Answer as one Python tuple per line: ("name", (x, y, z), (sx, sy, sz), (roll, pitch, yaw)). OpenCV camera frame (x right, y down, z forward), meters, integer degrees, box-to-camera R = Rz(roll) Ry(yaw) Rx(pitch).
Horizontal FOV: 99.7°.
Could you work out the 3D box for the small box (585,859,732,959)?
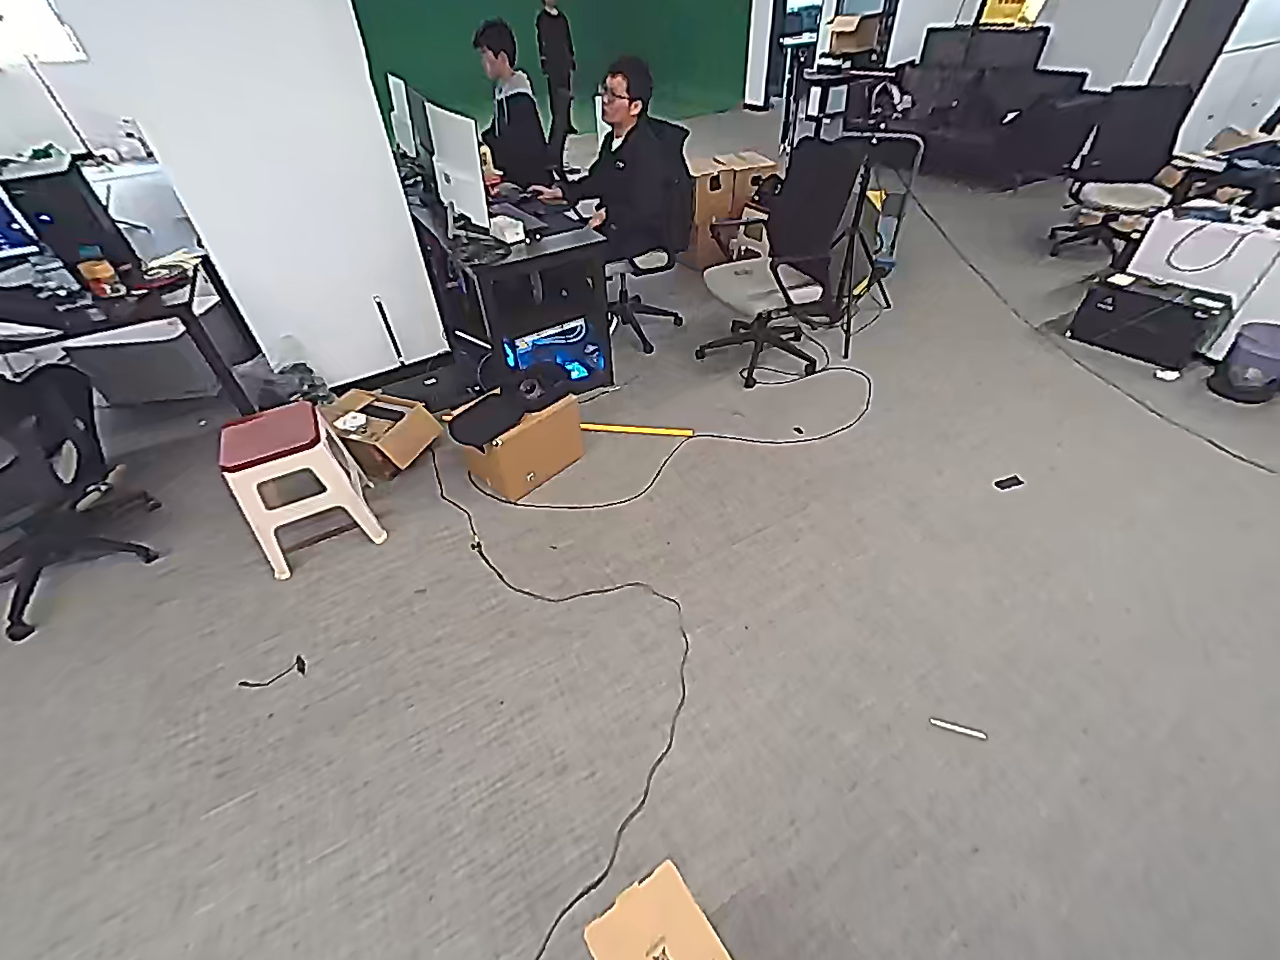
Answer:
("small box", (0.032, 0.744, 0.834), (0.168, 0.176, 0.179), (-26, 47, -23))
